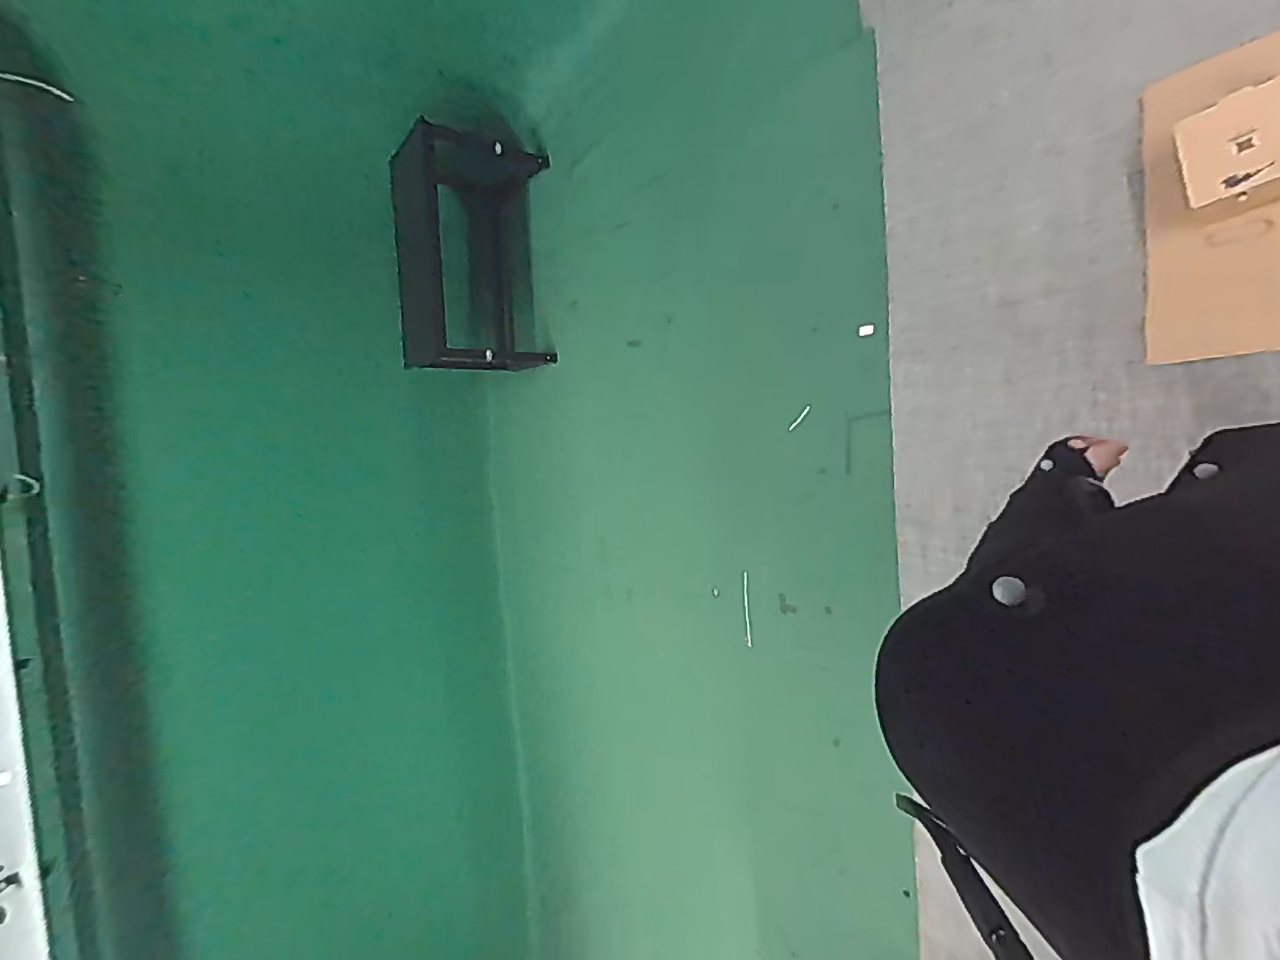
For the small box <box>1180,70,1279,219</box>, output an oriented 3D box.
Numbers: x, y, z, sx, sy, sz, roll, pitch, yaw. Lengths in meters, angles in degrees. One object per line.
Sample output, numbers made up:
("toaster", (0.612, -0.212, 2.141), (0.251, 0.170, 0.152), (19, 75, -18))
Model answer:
("small box", (1.156, -0.628, 1.019), (0.168, 0.176, 0.179), (-12, 85, 52))
